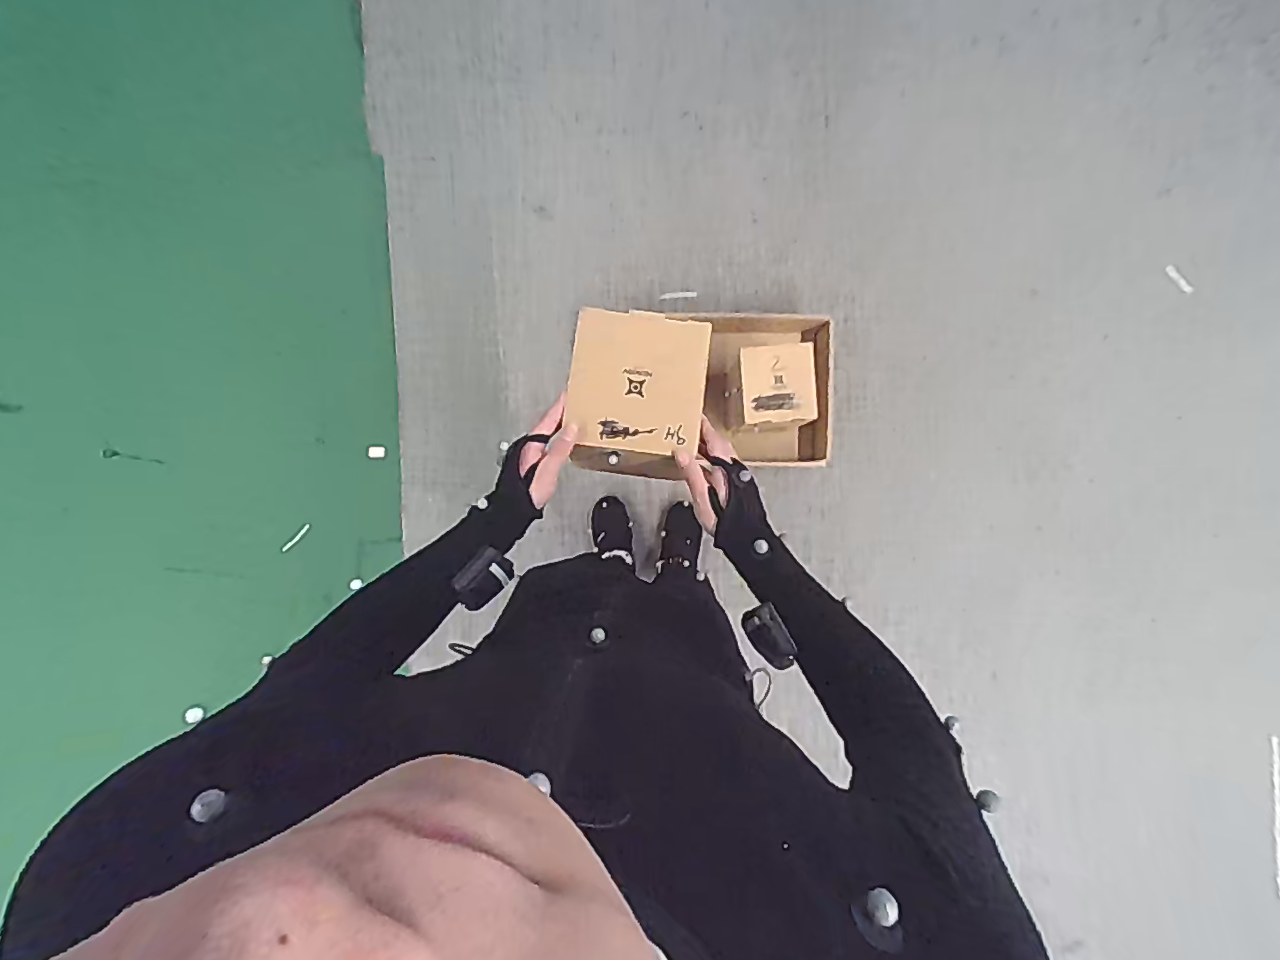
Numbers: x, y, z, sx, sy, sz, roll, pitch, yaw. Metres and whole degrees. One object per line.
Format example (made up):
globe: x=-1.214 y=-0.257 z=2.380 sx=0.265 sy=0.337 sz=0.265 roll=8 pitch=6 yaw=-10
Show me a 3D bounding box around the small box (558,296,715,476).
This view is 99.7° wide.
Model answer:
small box: x=-0.004 y=-0.113 z=0.711 sx=0.168 sy=0.176 sz=0.179 roll=8 pitch=81 yaw=1
